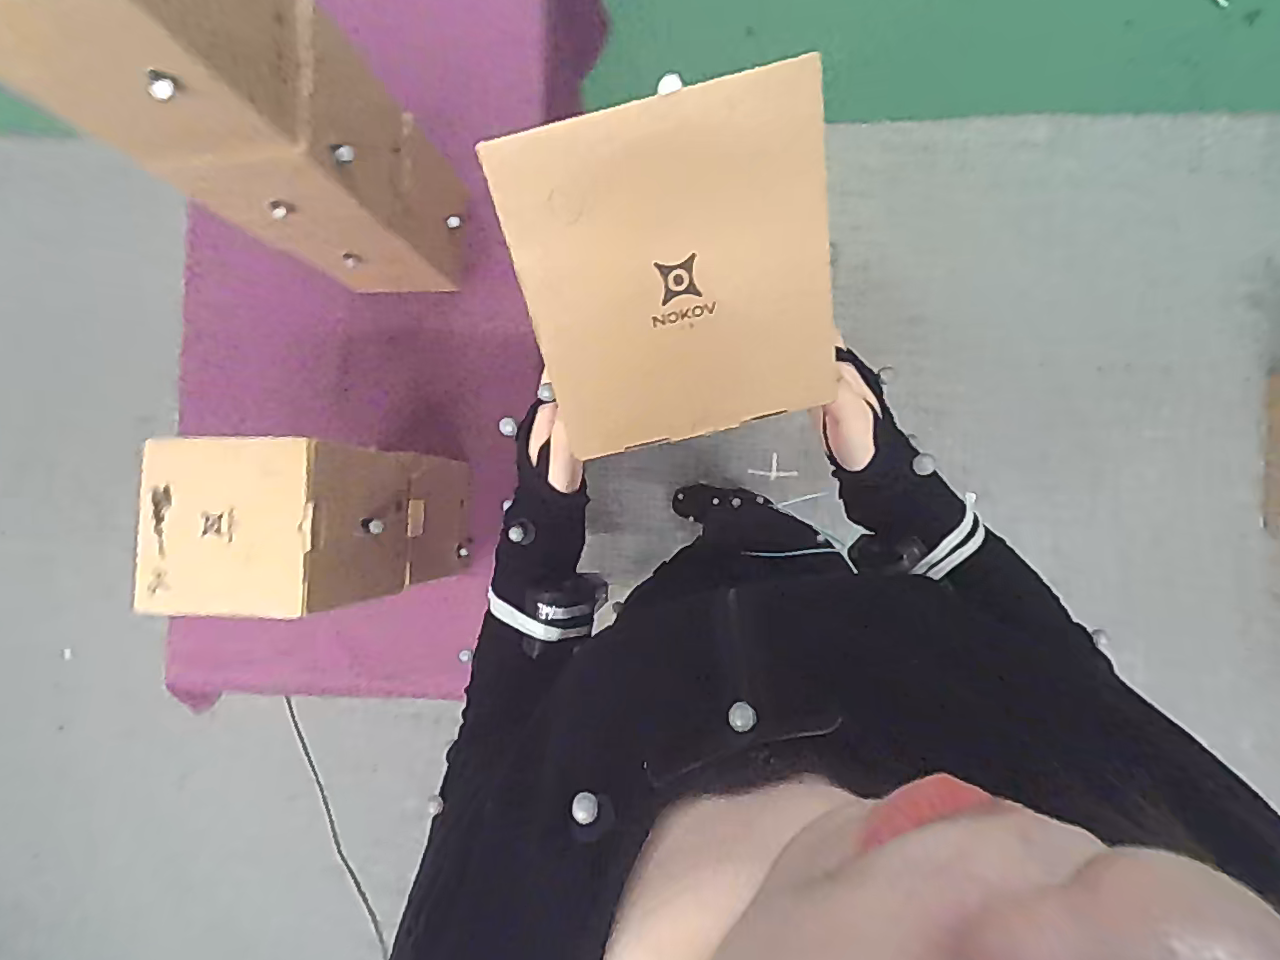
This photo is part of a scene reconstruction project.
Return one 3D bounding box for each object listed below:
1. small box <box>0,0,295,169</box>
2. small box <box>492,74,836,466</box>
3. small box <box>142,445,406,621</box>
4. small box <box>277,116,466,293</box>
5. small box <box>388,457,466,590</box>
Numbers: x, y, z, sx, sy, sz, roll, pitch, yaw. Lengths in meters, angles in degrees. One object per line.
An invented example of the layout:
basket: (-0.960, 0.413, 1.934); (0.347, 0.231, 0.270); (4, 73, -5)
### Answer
small box: (-0.421, -0.390, 0.446); (0.179, 0.176, 0.168); (-1, 87, 8)
small box: (0.018, -0.137, 0.365); (0.168, 0.176, 0.179); (-12, 120, 4)
small box: (-0.375, 0.051, 0.584); (0.179, 0.176, 0.168); (0, 87, 6)
small box: (-0.370, -0.376, 0.769); (0.179, 0.176, 0.168); (1, 88, 8)
small box: (-0.354, 0.057, 0.747); (0.179, 0.176, 0.168); (-2, 87, 8)
